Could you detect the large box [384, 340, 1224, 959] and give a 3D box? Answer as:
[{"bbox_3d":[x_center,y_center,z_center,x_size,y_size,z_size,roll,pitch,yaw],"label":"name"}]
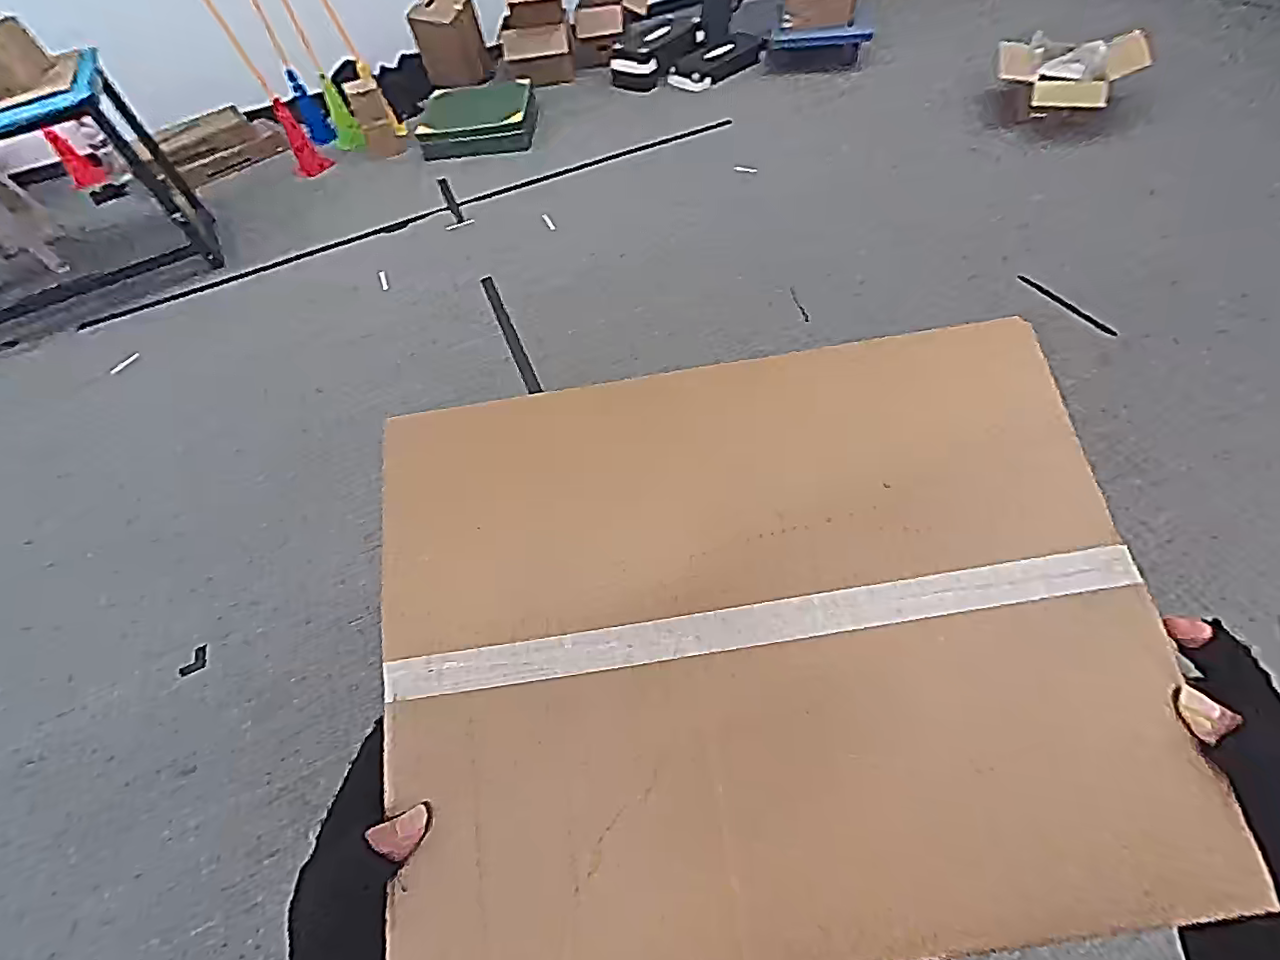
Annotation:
[{"bbox_3d":[0.068,0.132,0.440,0.408,0.320,0.320,-10,72,1],"label":"large box"}]
